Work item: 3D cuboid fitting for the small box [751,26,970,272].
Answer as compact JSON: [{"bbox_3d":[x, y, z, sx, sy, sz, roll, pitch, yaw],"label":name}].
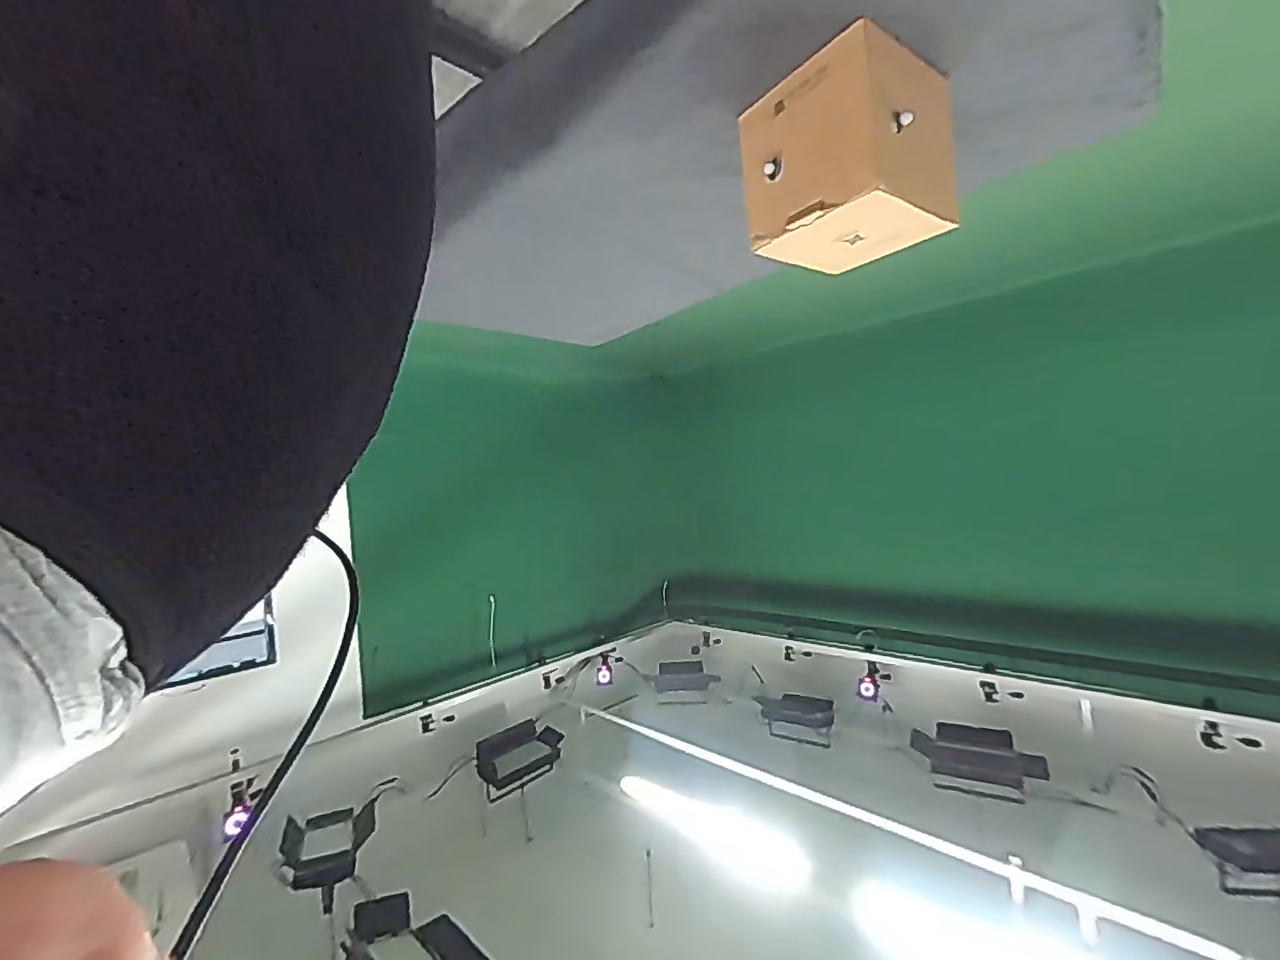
[{"bbox_3d":[0.247,-0.362,0.621,0.179,0.176,0.168,-7,-178,-35],"label":"small box"}]
